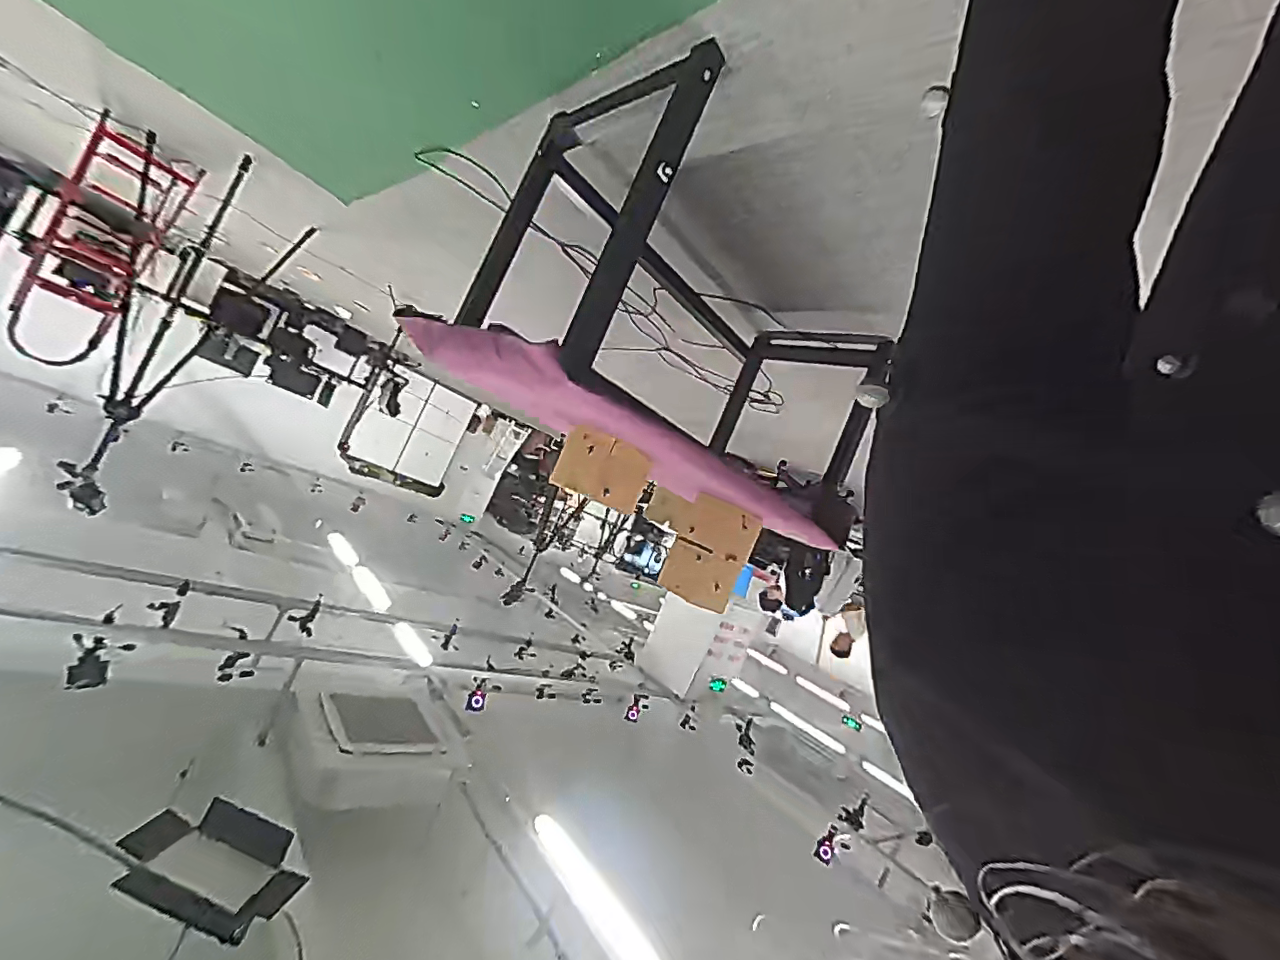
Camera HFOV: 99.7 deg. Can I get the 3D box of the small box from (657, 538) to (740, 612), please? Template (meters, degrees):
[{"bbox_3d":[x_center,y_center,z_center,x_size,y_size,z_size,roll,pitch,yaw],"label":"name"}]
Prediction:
[{"bbox_3d":[0.192,0.303,1.757,0.179,0.176,0.168,28,177,-39],"label":"small box"}]

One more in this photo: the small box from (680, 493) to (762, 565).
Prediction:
[{"bbox_3d":[0.267,0.155,1.769,0.168,0.176,0.179,26,176,-37],"label":"small box"}]

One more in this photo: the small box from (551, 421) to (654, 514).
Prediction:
[{"bbox_3d":[-0.093,-0.034,1.419,0.168,0.176,0.179,21,175,41],"label":"small box"}]
